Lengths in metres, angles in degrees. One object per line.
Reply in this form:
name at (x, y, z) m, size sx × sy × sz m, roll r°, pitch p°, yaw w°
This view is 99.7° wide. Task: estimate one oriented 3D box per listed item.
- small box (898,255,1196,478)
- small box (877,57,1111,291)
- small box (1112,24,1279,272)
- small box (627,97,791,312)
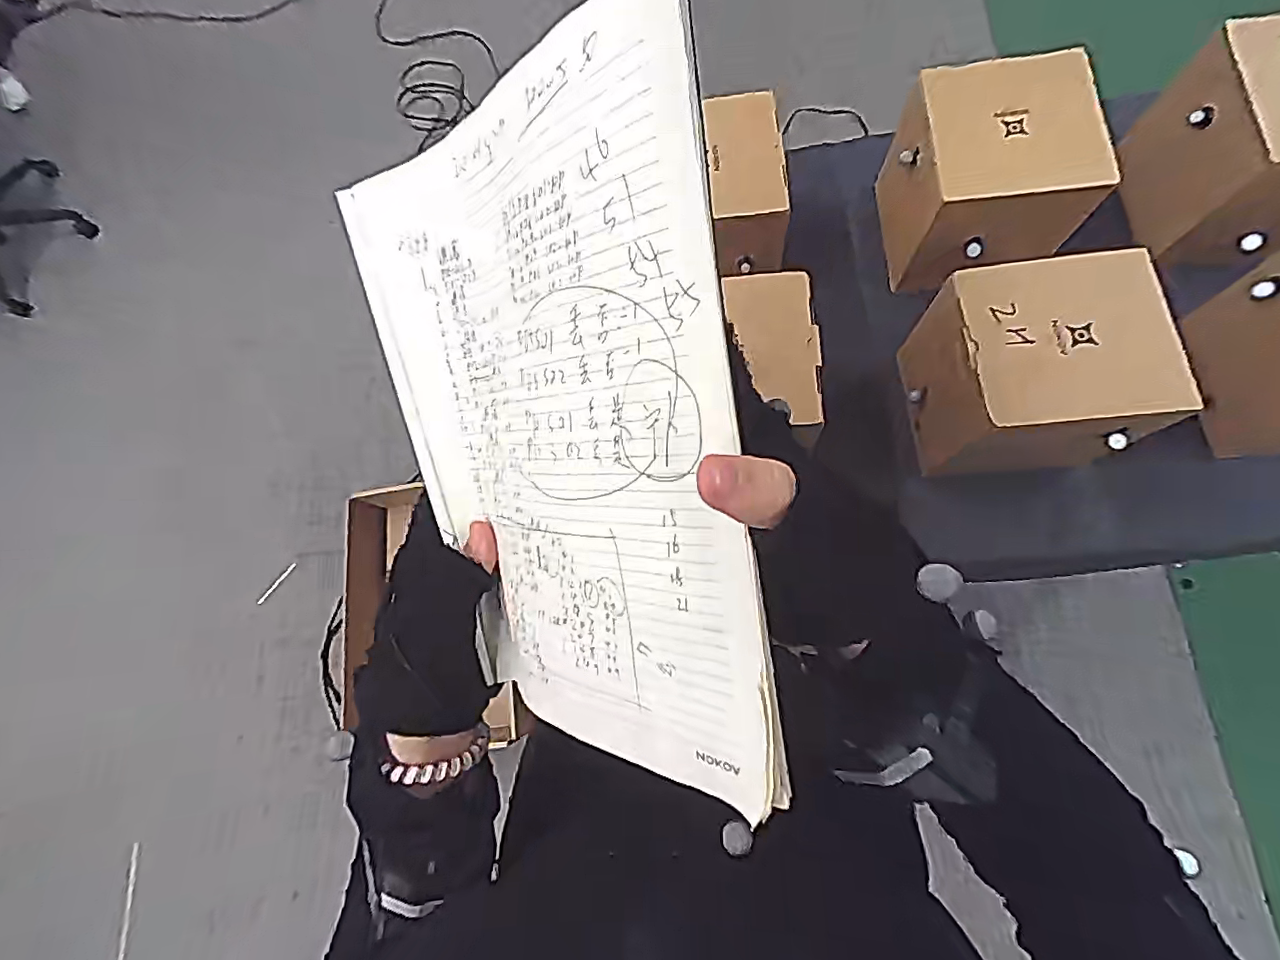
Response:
small box at (0.400, -0.106, 0.571) m, size 0.179 × 0.176 × 0.168 m, roll -5°, pitch 73°, yaw 7°
small box at (0.394, -0.342, 0.640) m, size 0.168 × 0.176 × 0.179 m, roll -3°, pitch 74°, yaw 7°
small box at (0.681, -0.362, 0.602) m, size 0.168 × 0.176 × 0.179 m, roll -3°, pitch 75°, yaw 8°
small box at (0.081, -0.330, 0.676) m, size 0.179 × 0.176 × 0.168 m, roll -4°, pitch 74°, yaw 6°
